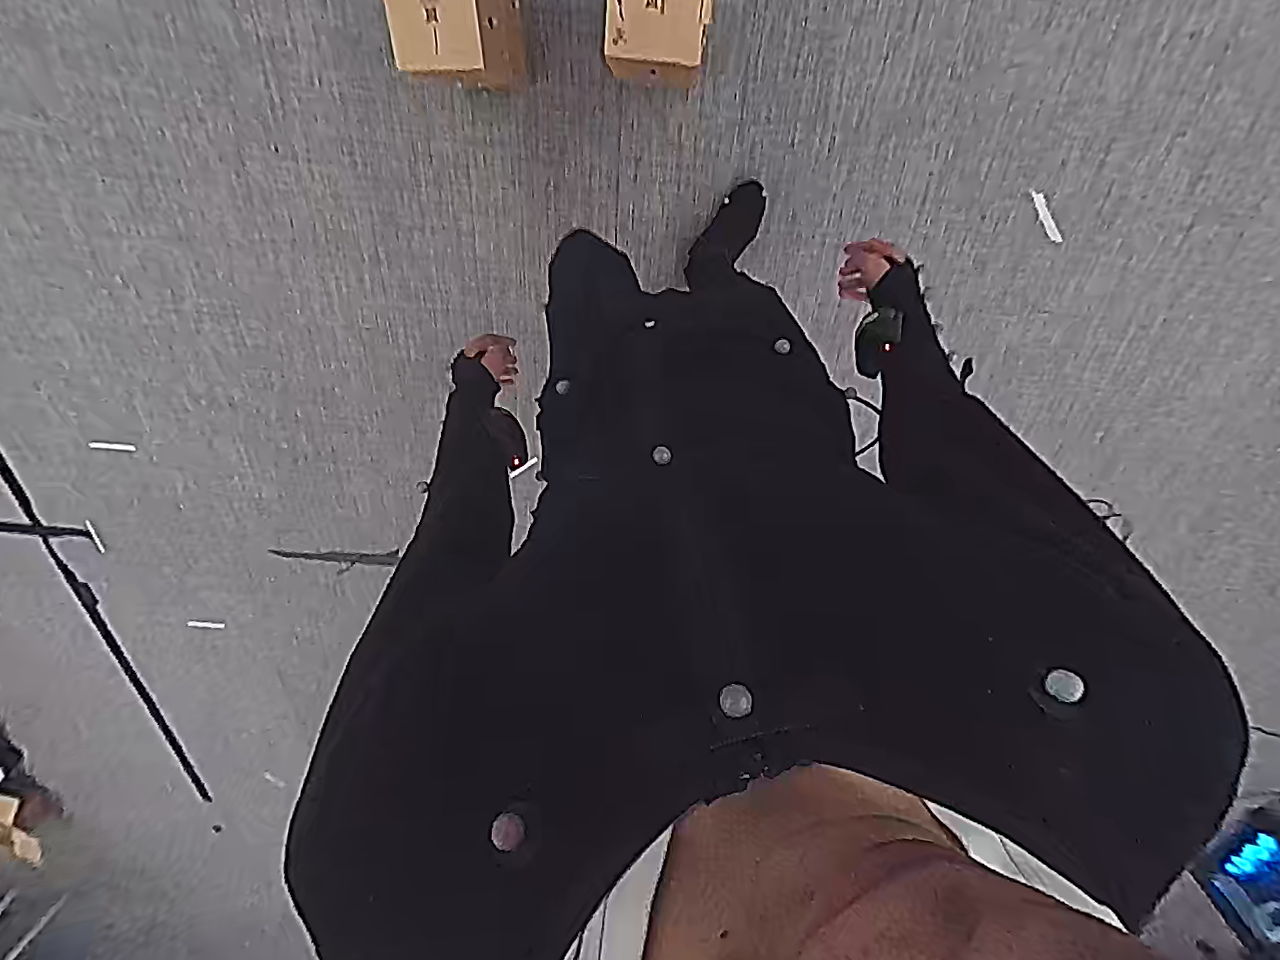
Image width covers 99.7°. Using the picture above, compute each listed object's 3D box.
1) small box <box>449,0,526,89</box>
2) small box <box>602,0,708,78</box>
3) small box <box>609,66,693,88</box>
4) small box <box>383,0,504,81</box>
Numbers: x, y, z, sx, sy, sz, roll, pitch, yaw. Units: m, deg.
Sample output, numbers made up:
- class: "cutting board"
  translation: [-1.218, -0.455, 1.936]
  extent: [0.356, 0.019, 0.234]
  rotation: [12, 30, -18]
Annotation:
- class: "small box"
  translation: [-0.348, -0.951, 1.147]
  extent: [0.168, 0.176, 0.179]
  rotation: [0, 120, 3]
- class: "small box"
  translation: [0.028, -0.859, 0.995]
  extent: [0.179, 0.176, 0.168]
  rotation: [6, 120, -3]
- class: "small box"
  translation: [0.033, -0.941, 1.137]
  extent: [0.179, 0.176, 0.168]
  rotation: [5, 121, -2]
- class: "small box"
  translation: [-0.362, -0.864, 1.008]
  extent: [0.168, 0.176, 0.179]
  rotation: [1, 121, 2]
